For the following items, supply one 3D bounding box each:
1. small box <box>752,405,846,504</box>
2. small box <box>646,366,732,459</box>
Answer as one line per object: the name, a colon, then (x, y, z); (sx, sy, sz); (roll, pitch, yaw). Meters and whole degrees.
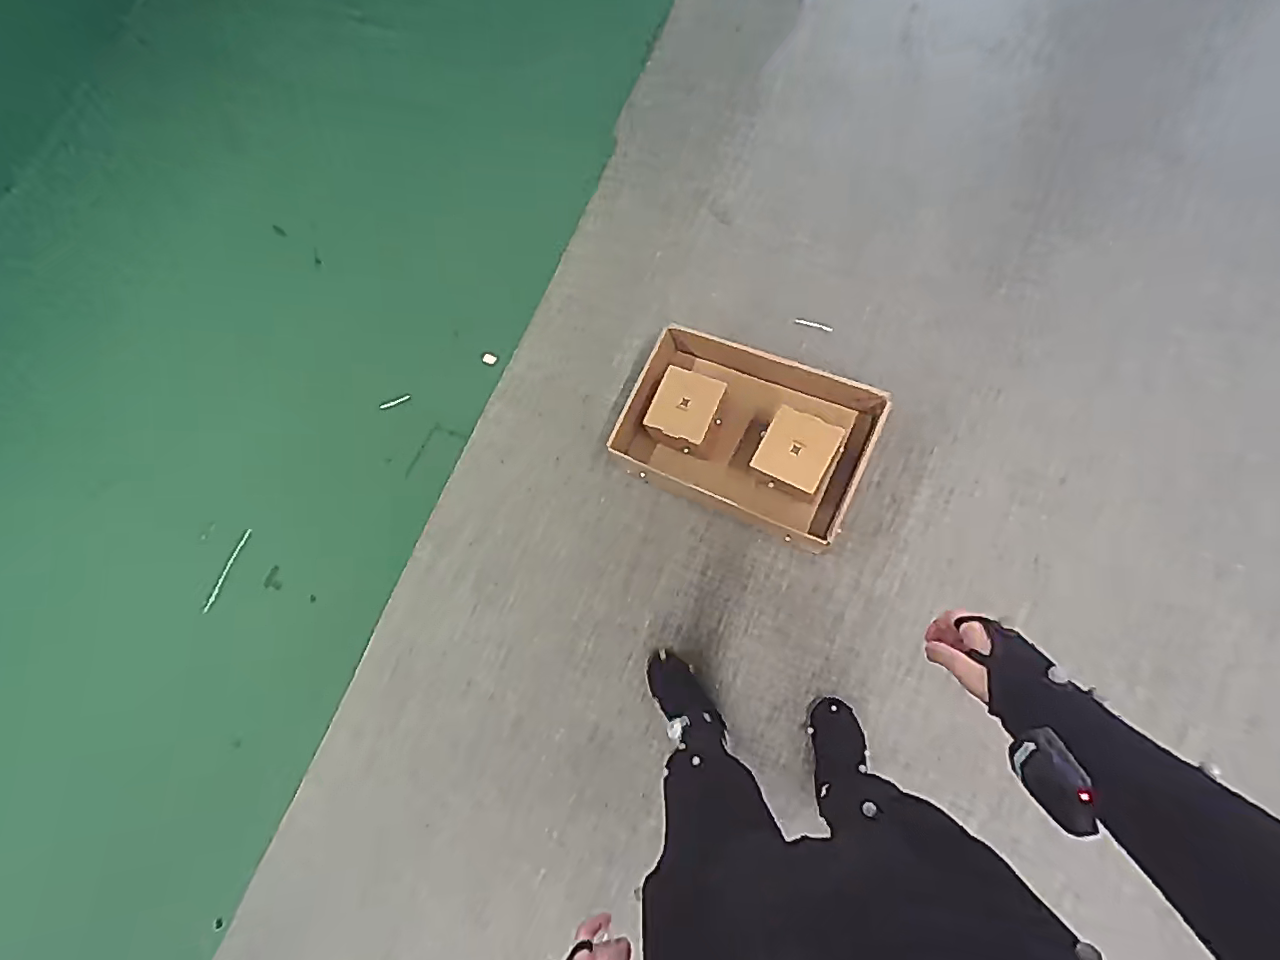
small box: (0.399, -0.057, 1.359); (0.168, 0.176, 0.179); (26, 85, 20)
small box: (0.140, -0.174, 1.456); (0.168, 0.176, 0.179); (23, 83, 18)
